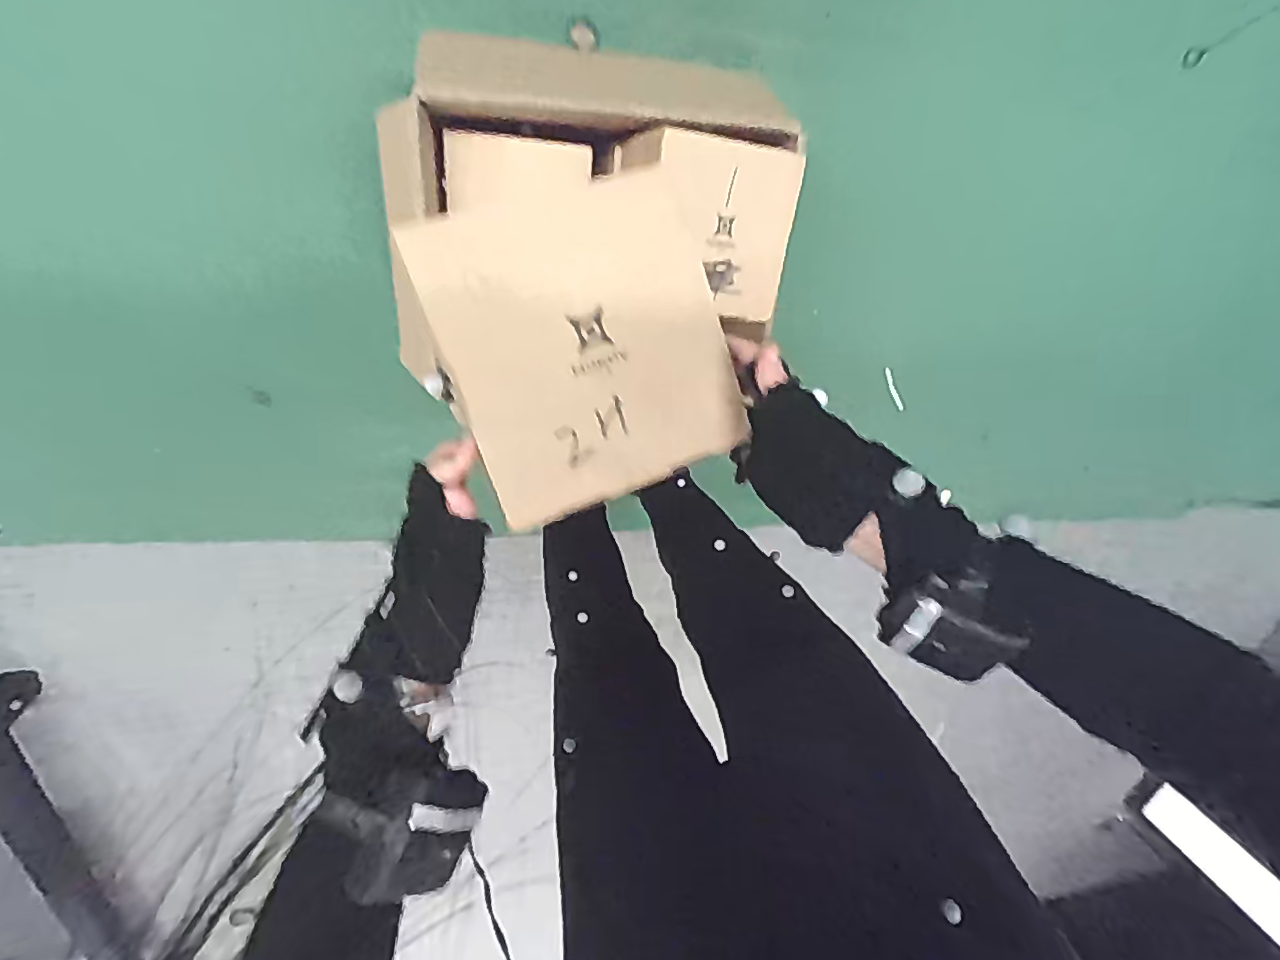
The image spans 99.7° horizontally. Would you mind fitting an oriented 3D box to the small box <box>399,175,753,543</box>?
[{"bbox_3d":[-0.053,-0.077,0.385,0.168,0.176,0.179,-23,102,-16],"label":"small box"}]
